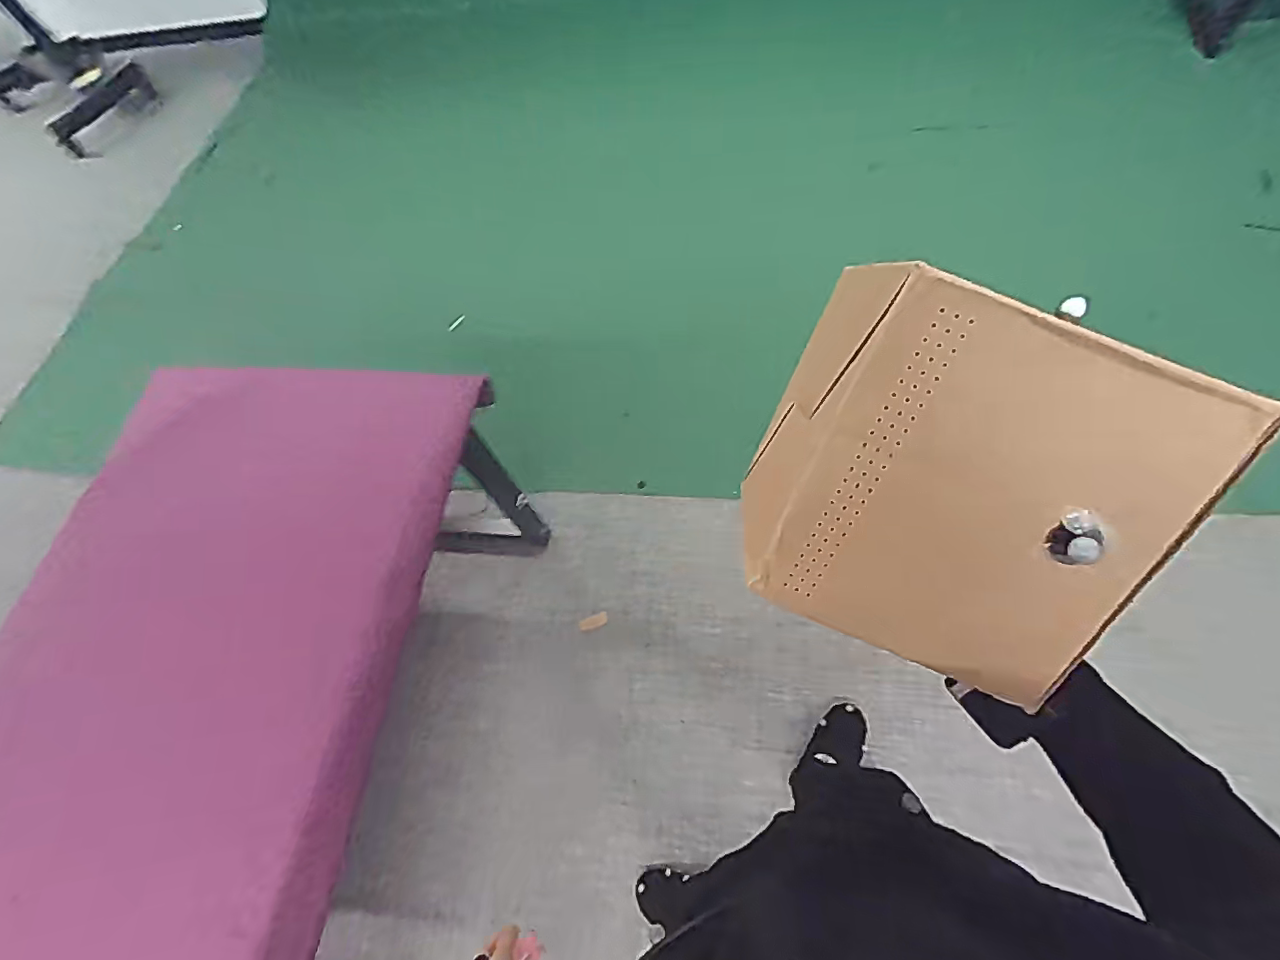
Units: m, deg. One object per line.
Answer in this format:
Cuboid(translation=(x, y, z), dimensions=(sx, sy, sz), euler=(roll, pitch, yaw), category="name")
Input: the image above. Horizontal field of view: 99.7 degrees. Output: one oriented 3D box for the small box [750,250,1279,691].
Cuboid(translation=(0.179, -0.019, 0.325), dimensions=(0.176, 0.168, 0.179), euler=(24, 112, 3), category="small box")
